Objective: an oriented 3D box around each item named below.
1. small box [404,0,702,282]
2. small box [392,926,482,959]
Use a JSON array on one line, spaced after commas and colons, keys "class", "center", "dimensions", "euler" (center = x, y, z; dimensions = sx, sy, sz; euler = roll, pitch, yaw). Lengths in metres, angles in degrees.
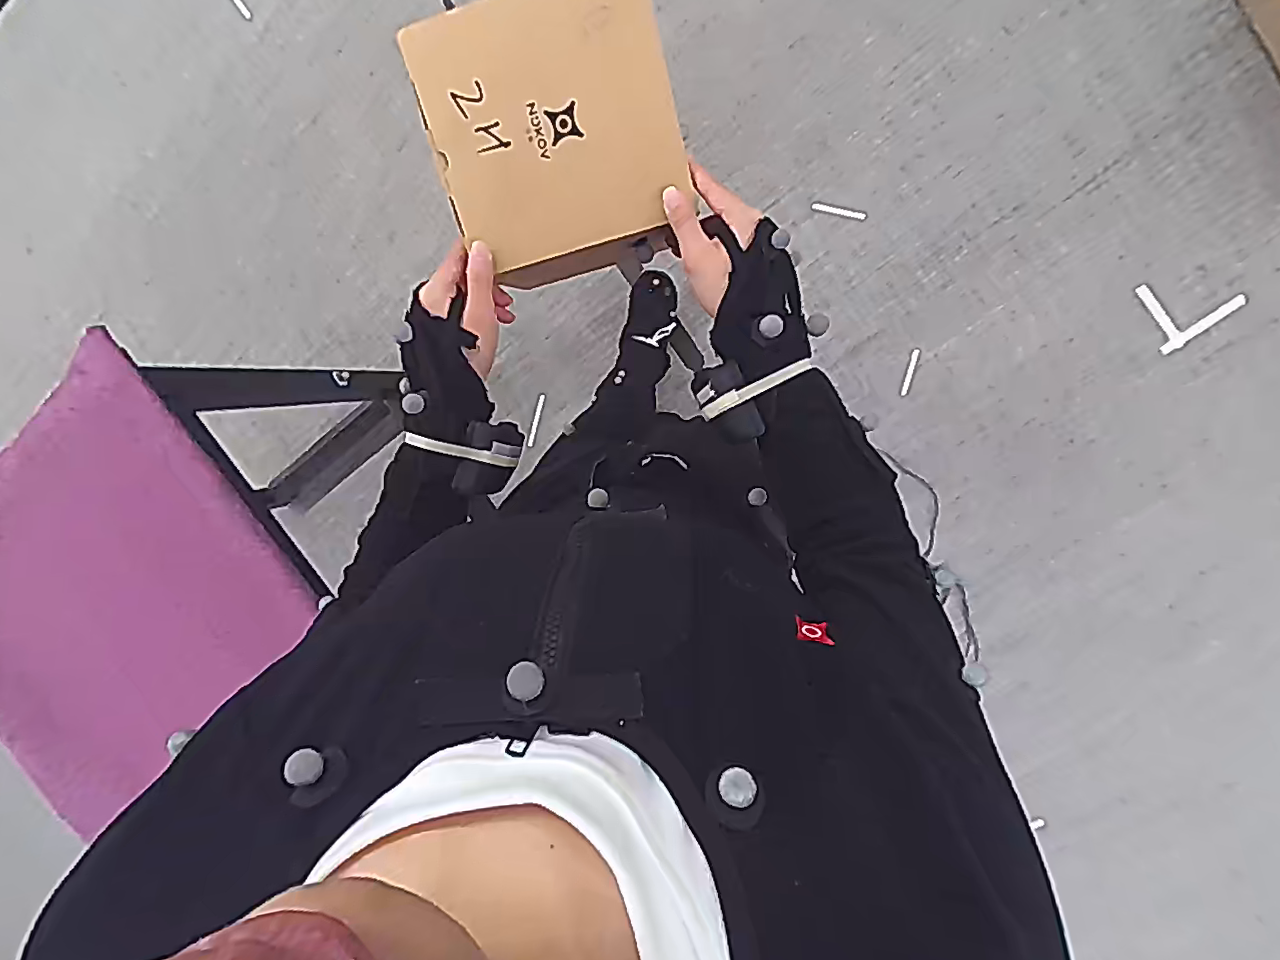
[{"class": "small box", "center": [-0.056, -0.274, 0.453], "dimensions": [0.179, 0.176, 0.168], "euler": [-13, 105, 6]}, {"class": "small box", "center": [-0.294, 0.758, 0.719], "dimensions": [0.179, 0.176, 0.168], "euler": [-42, 91, 13]}]
